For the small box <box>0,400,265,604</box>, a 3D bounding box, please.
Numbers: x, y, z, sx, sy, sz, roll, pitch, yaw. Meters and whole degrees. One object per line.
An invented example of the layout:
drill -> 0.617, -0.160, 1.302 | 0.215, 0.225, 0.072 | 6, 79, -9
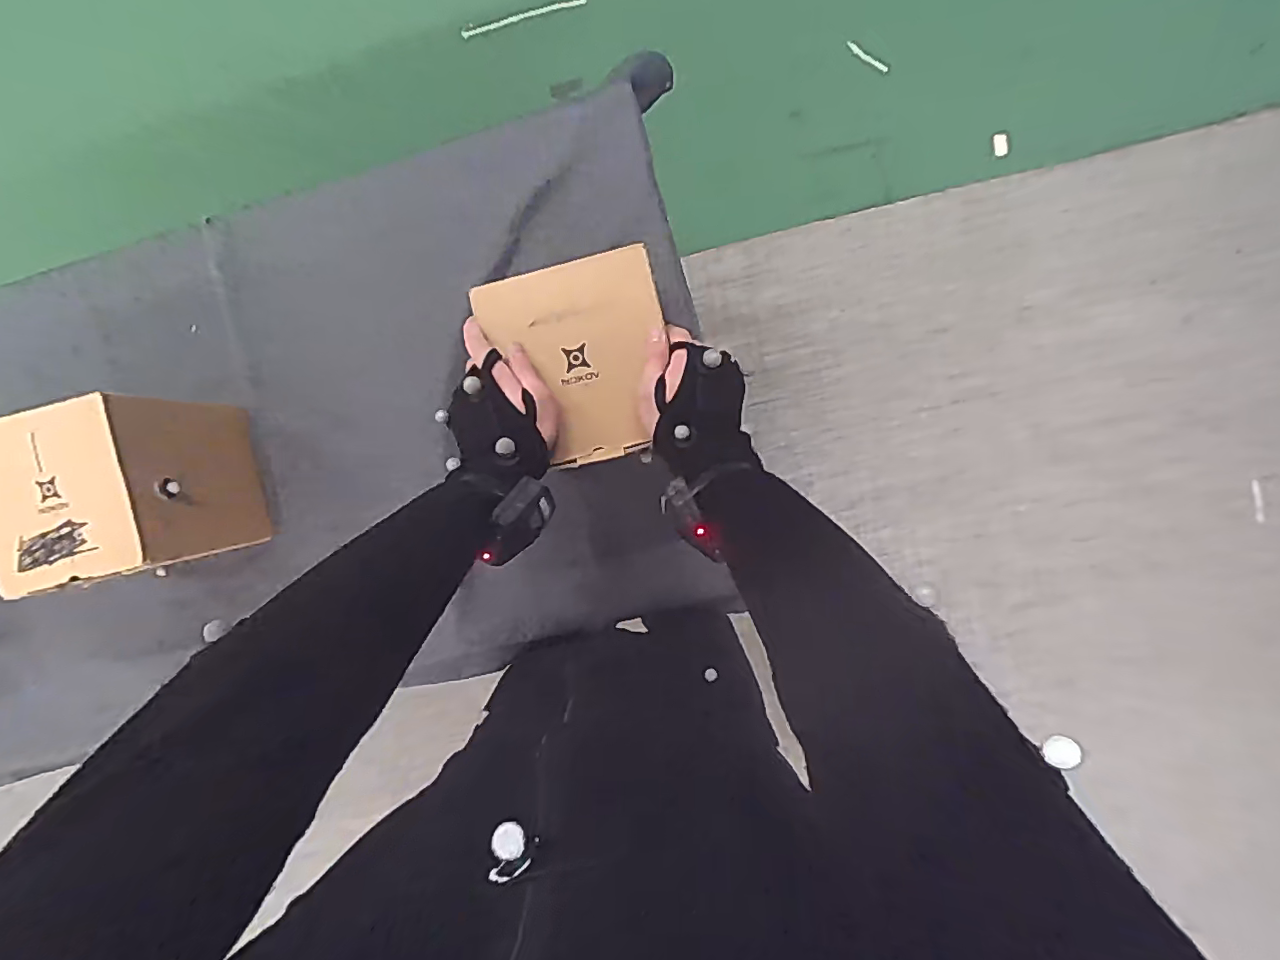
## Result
small box -> -0.565, 0.018, 0.604 | 0.168, 0.176, 0.179 | -13, 92, 5

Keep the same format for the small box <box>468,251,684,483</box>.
small box -> -0.051, -0.104, 0.561 | 0.168, 0.176, 0.179 | -14, 92, 4
